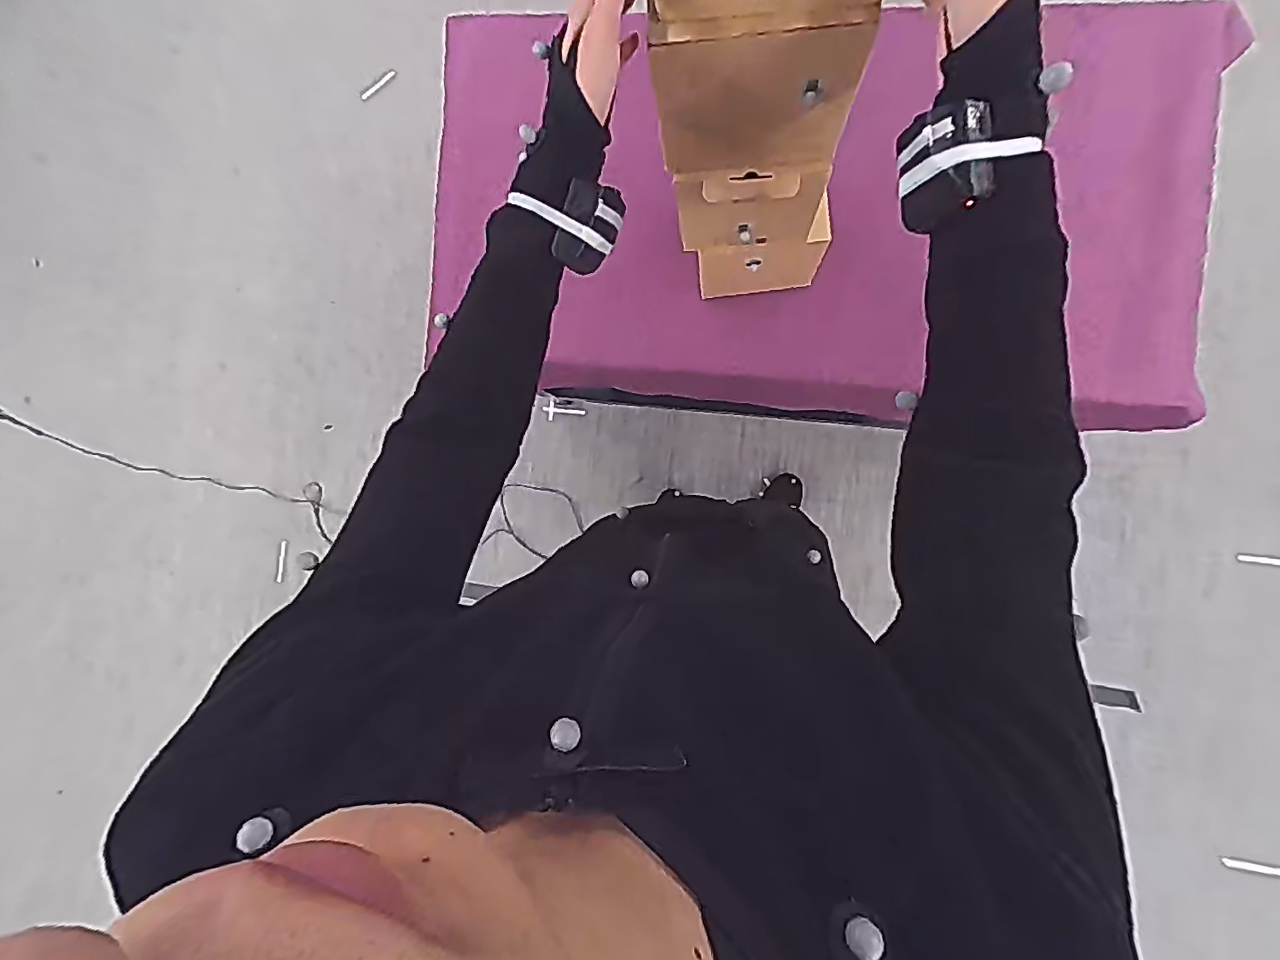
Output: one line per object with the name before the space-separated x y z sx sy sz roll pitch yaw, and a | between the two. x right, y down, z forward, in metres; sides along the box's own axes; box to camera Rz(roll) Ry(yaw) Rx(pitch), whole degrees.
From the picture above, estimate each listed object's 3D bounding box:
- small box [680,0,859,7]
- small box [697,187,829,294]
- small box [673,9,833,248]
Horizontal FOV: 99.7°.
small box | 0.087 -0.433 0.324 0.168 0.176 0.179 2 89 8
small box | 0.171 -0.392 0.808 0.179 0.176 0.168 -4 89 7
small box | 0.128 -0.402 0.648 0.168 0.176 0.179 1 90 8
